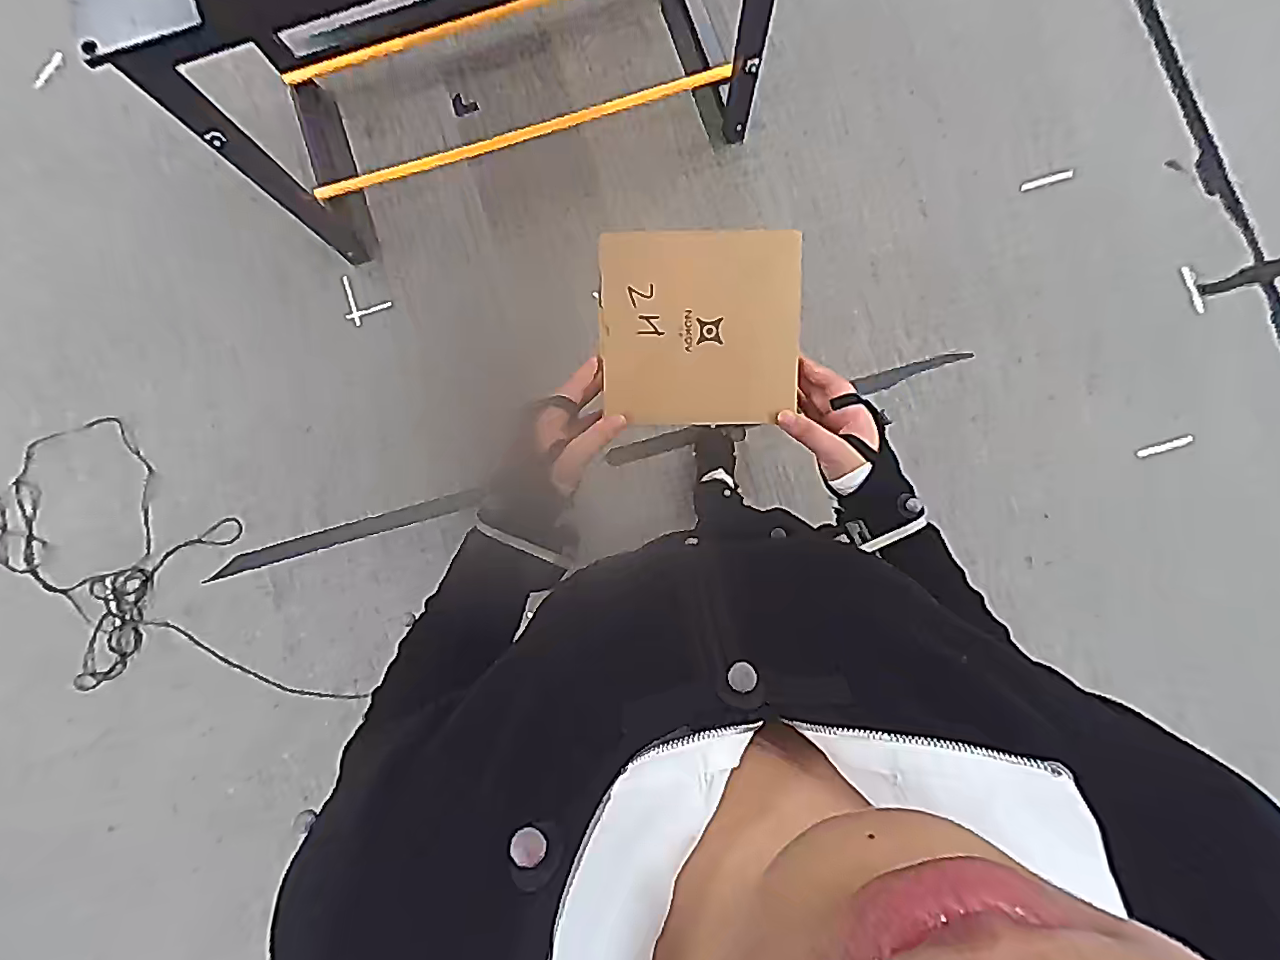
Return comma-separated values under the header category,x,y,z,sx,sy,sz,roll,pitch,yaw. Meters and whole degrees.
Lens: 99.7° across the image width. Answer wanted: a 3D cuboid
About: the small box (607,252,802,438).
category,x,y,z,sx,sy,sz,roll,pitch,yaw
small box,0.056,-0.132,0.569,0.179,0.176,0.168,0,98,0
